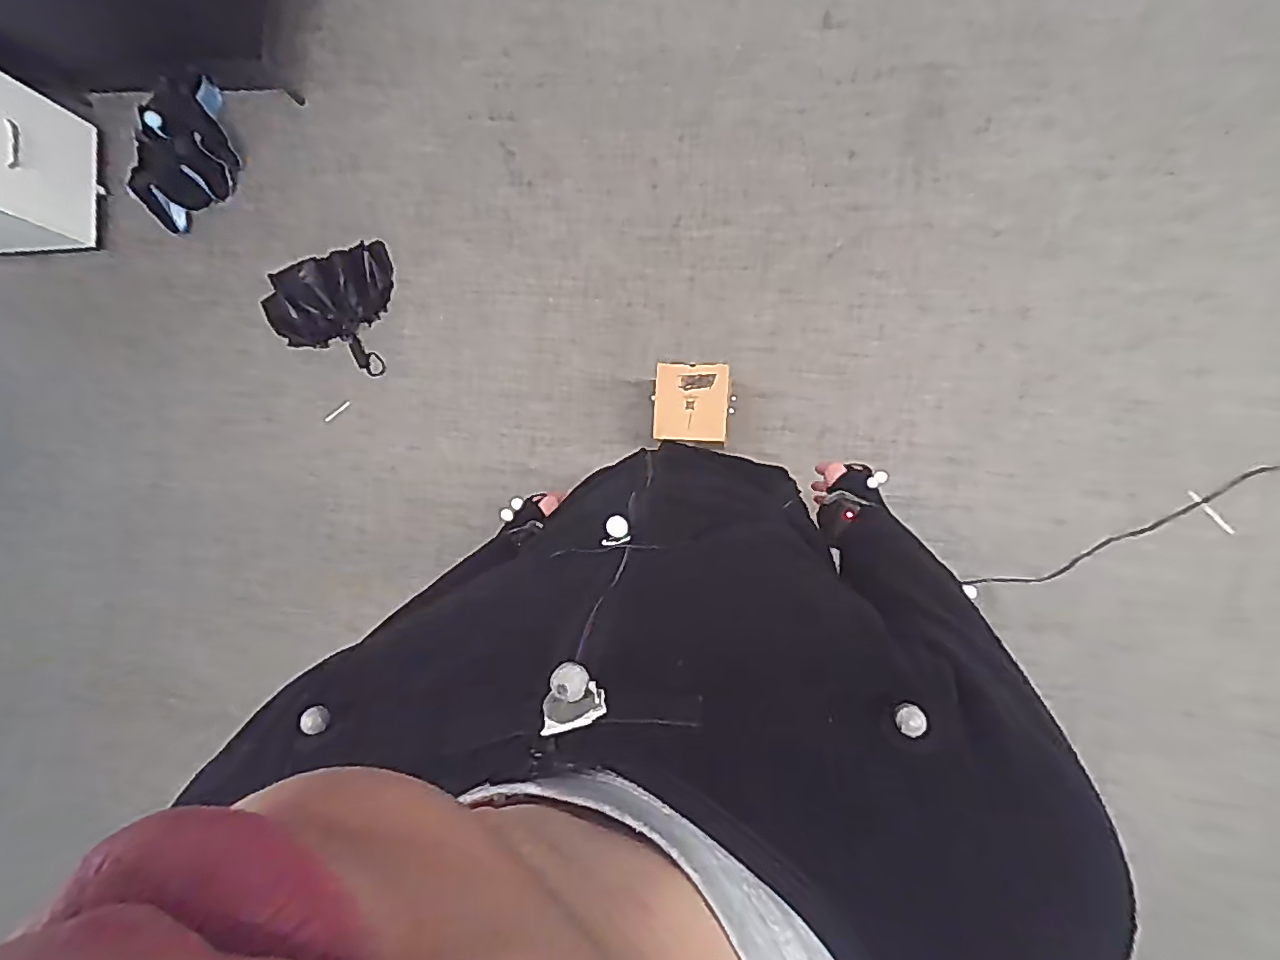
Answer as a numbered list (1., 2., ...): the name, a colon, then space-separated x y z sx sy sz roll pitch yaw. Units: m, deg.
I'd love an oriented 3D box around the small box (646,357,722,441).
1. small box: 0.110 -0.190 1.308 0.168 0.176 0.179 3 91 9
